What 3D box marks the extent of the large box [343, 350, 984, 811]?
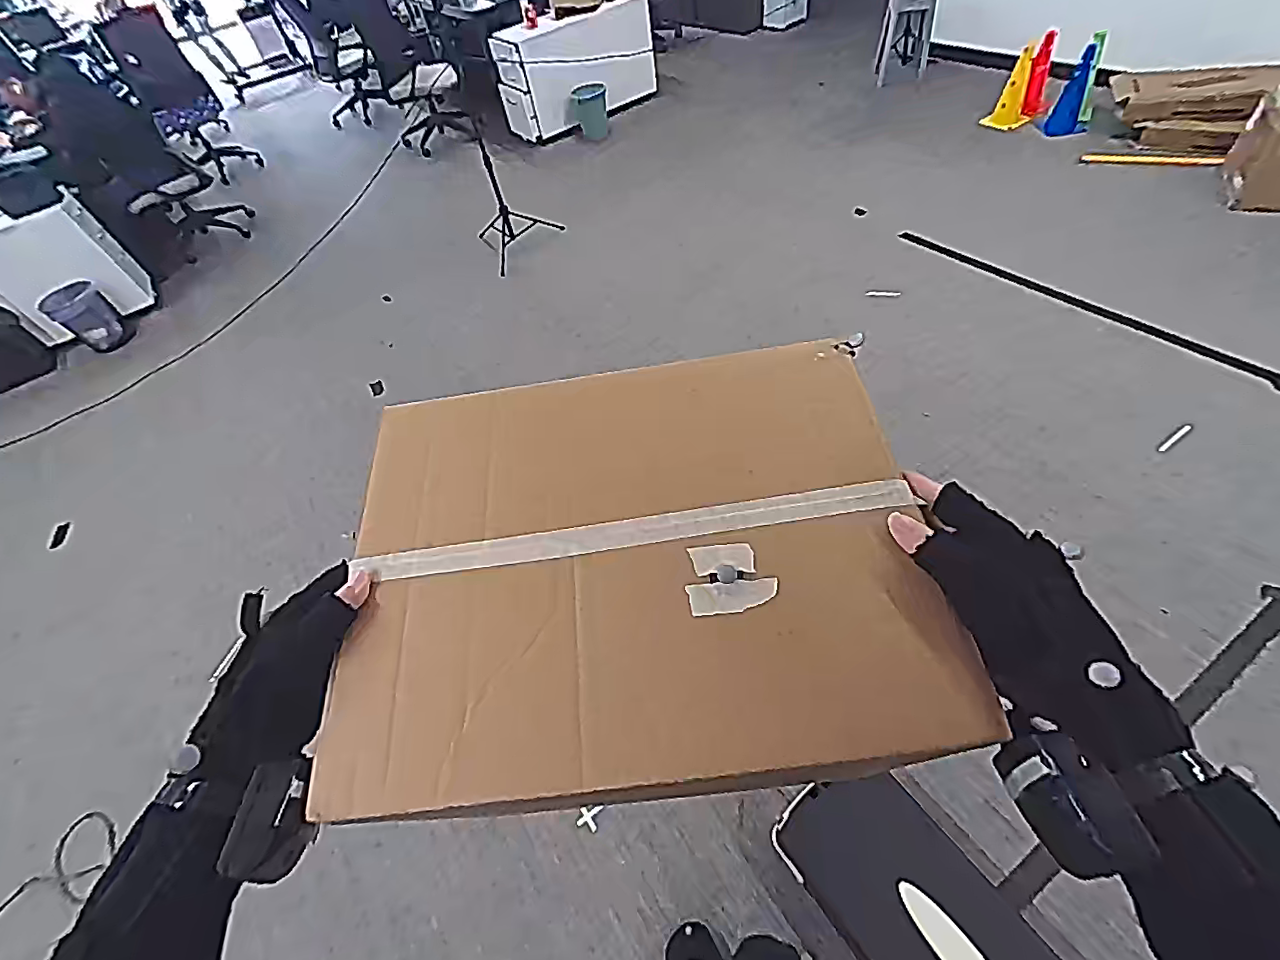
[{"bbox_3d":[0.009,0.120,0.530,0.408,0.320,0.320,-8,59,2],"label":"large box"}]
